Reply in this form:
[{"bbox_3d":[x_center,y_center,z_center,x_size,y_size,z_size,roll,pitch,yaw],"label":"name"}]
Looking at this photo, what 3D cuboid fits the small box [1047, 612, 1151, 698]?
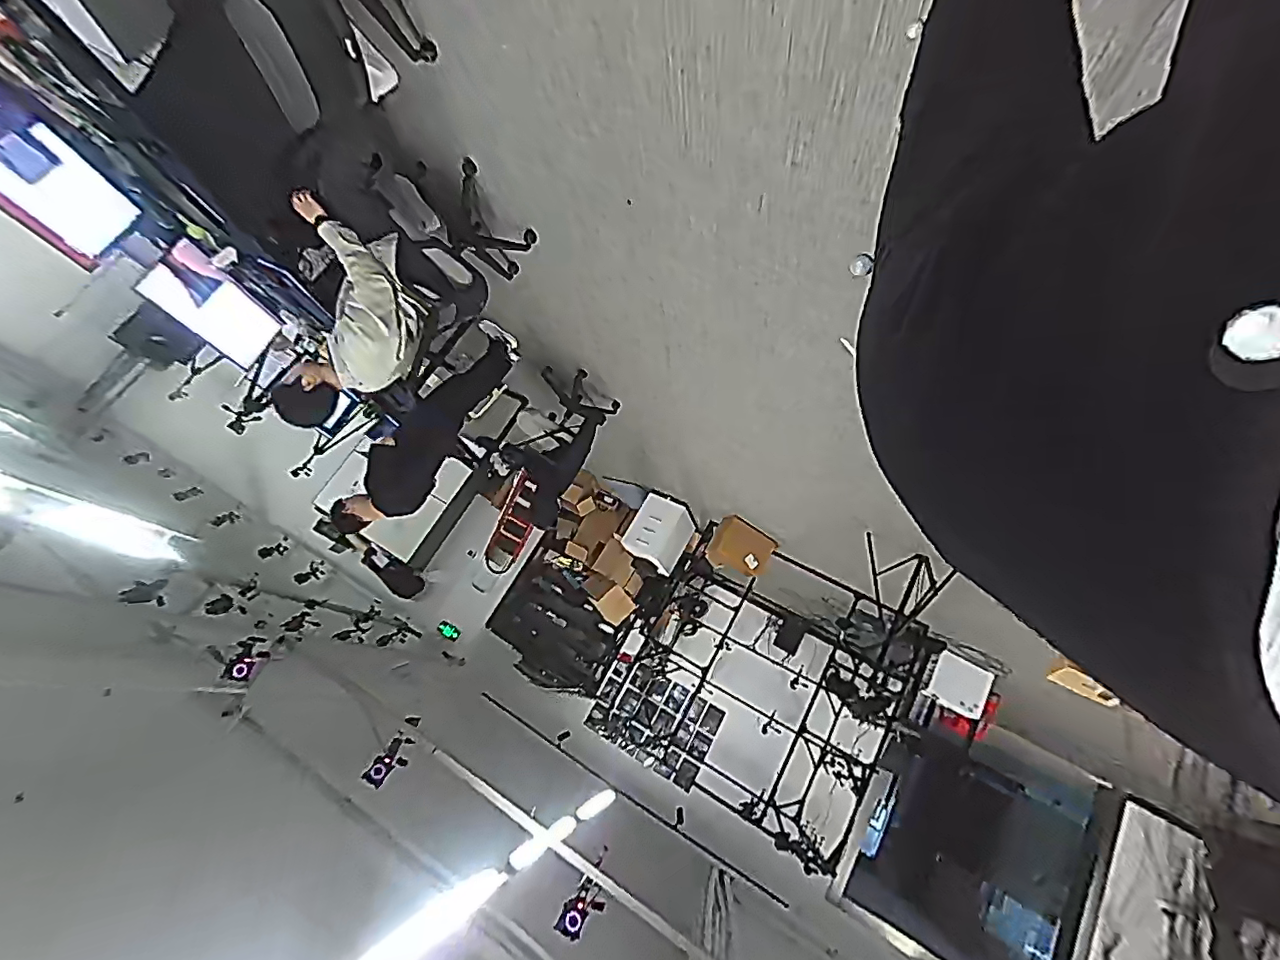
[{"bbox_3d":[1.373,0.523,1.618,0.179,0.176,0.168,24,159,25],"label":"small box"}]
